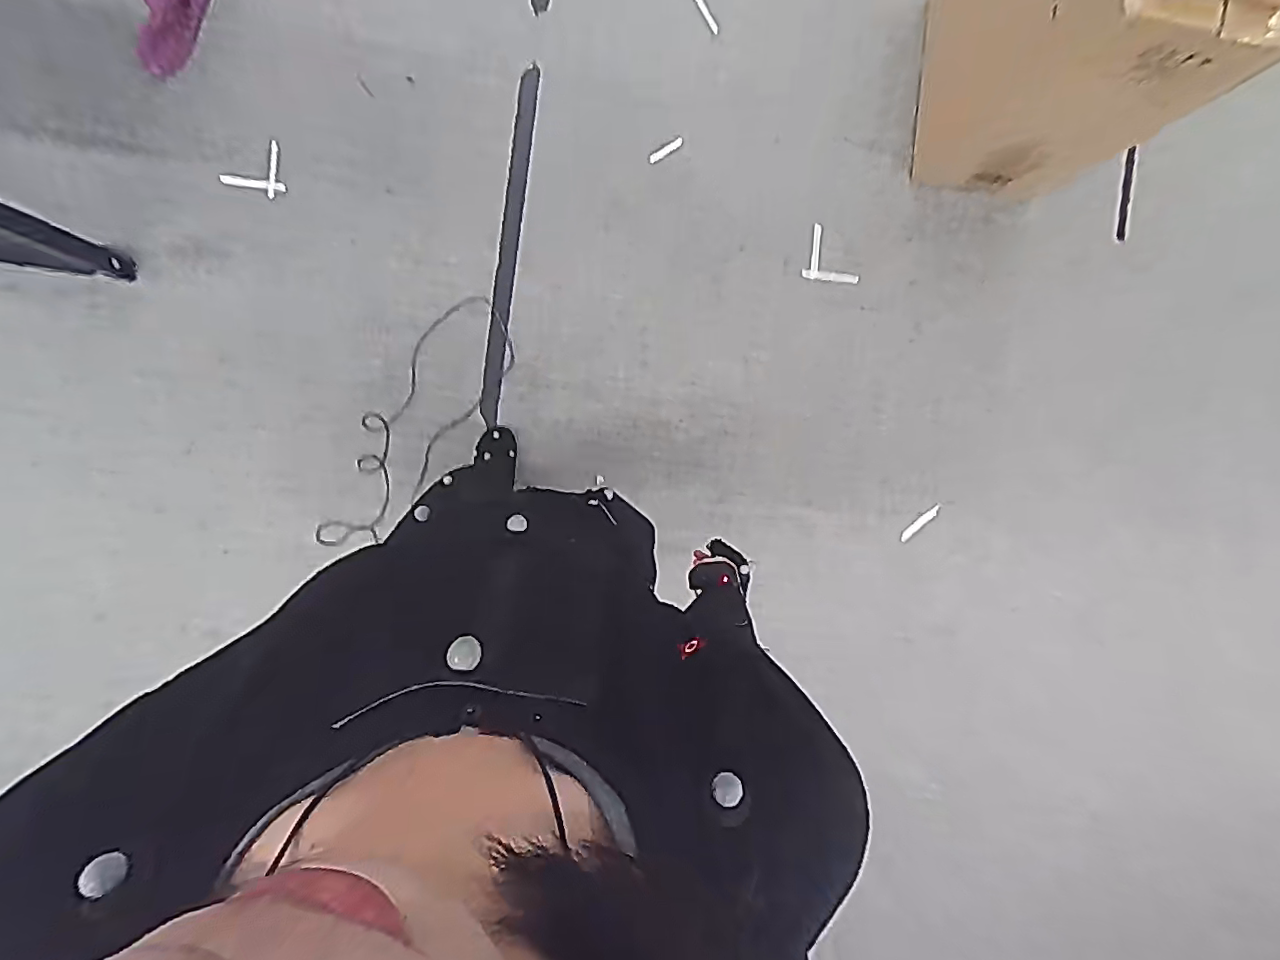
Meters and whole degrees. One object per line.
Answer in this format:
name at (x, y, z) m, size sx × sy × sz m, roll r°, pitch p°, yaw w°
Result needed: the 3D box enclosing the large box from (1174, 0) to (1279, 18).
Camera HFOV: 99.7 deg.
large box at (1.093, -1.086, 0.863) m, size 0.320 × 0.320 × 0.408 m, roll 4°, pitch 92°, yaw -7°
